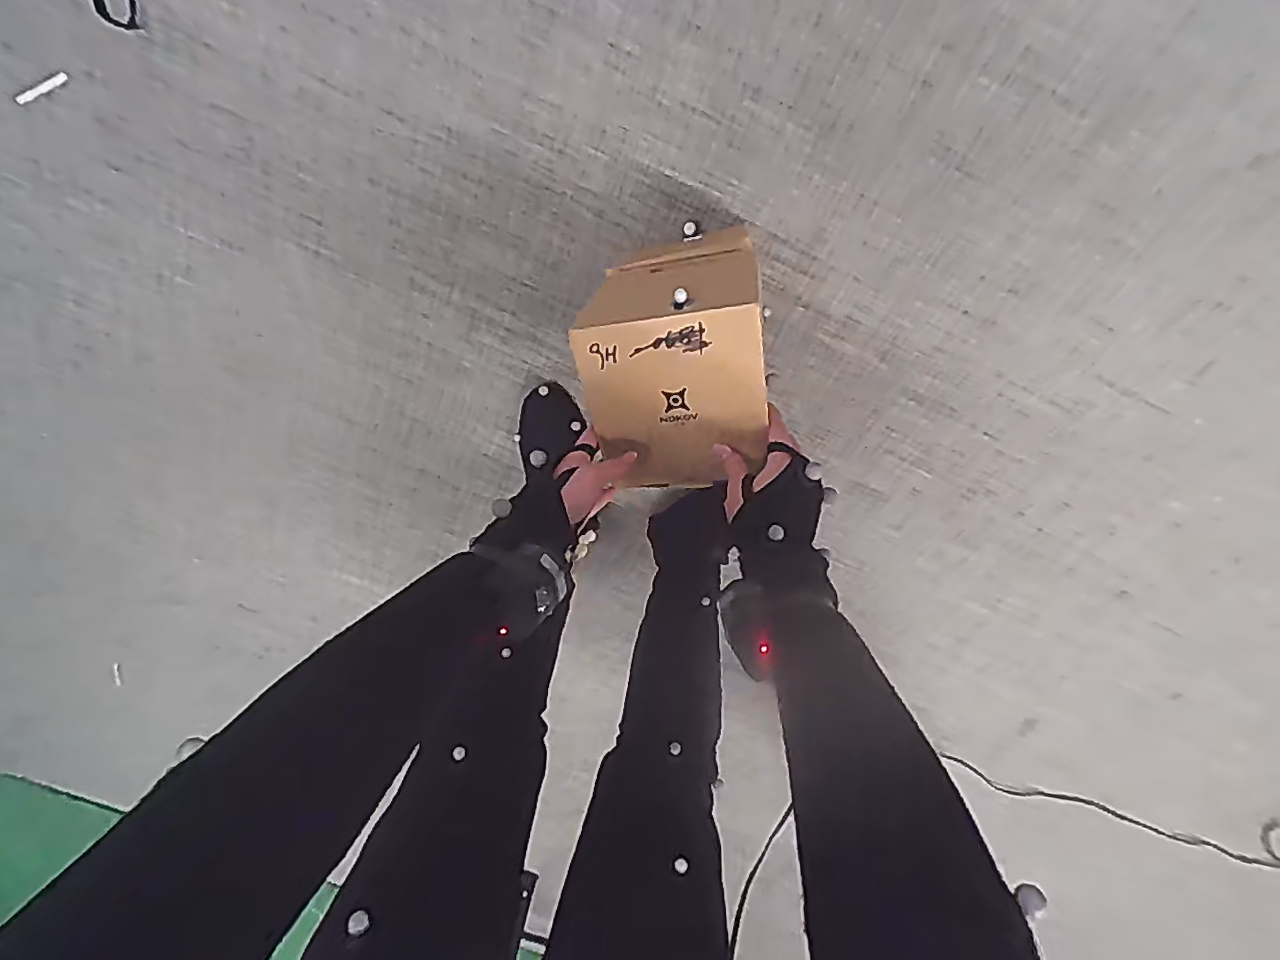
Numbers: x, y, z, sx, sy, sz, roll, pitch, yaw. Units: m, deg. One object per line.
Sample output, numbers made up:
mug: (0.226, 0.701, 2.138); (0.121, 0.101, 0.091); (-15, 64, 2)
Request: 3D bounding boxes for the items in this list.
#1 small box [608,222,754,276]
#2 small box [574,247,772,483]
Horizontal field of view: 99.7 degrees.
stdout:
small box: (0.070, -0.221, 0.706); (0.168, 0.176, 0.179); (-8, 118, 12)
small box: (0.049, -0.119, 0.561); (0.168, 0.176, 0.179); (-4, 127, 14)
